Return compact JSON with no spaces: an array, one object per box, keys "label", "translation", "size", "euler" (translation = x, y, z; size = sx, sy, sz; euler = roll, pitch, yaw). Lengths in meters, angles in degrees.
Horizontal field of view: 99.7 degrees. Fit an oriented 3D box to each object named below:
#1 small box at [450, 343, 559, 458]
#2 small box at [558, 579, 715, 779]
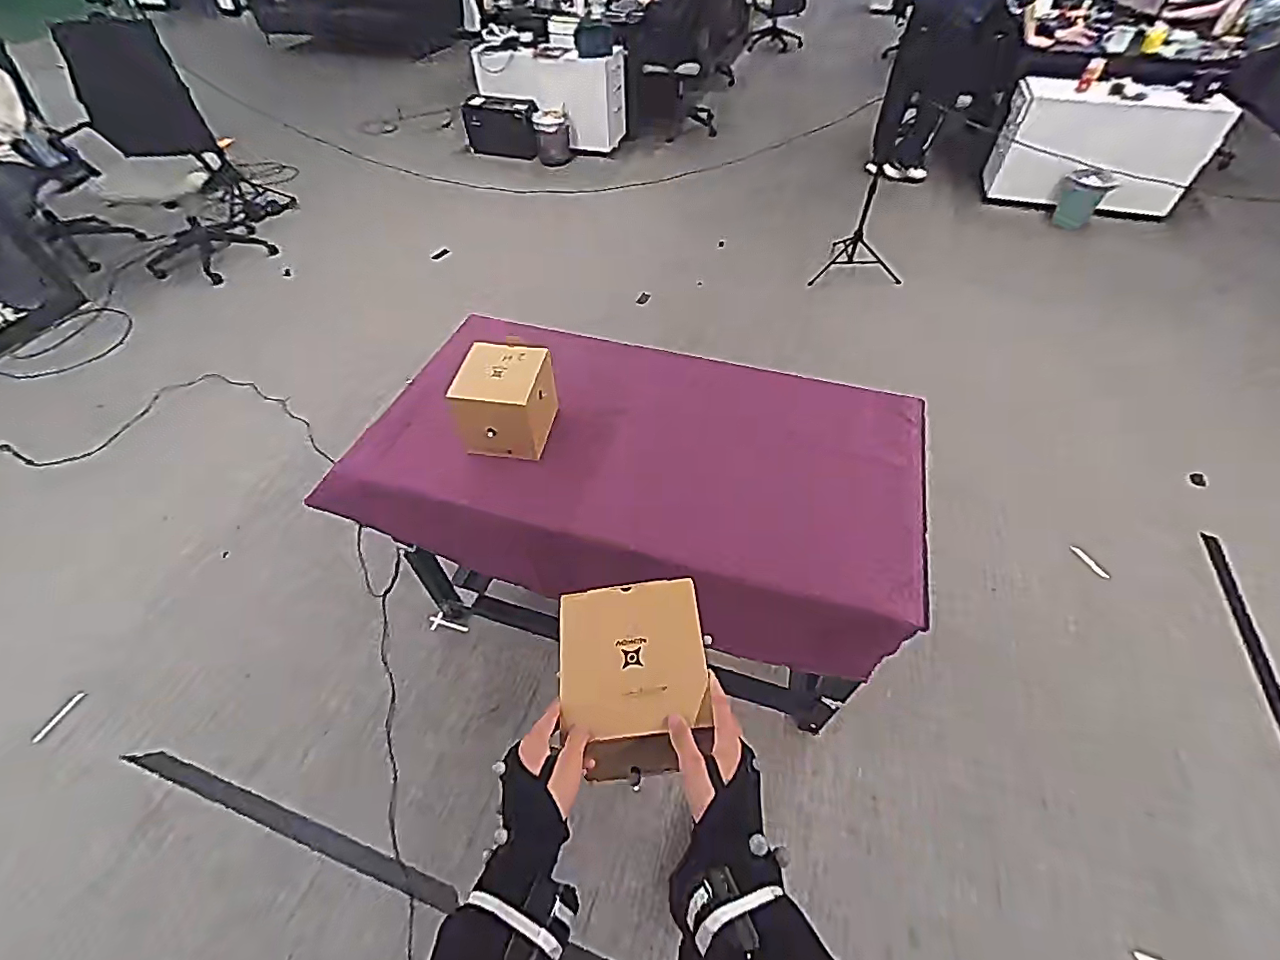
[{"label":"small box","translation":[-0.279,-0.169,1.164],"size":[0.168,0.176,0.179],"euler":[8,51,6]},{"label":"small box","translation":[-0.002,0.248,0.673],"size":[0.168,0.176,0.179],"euler":[-7,48,2]}]
